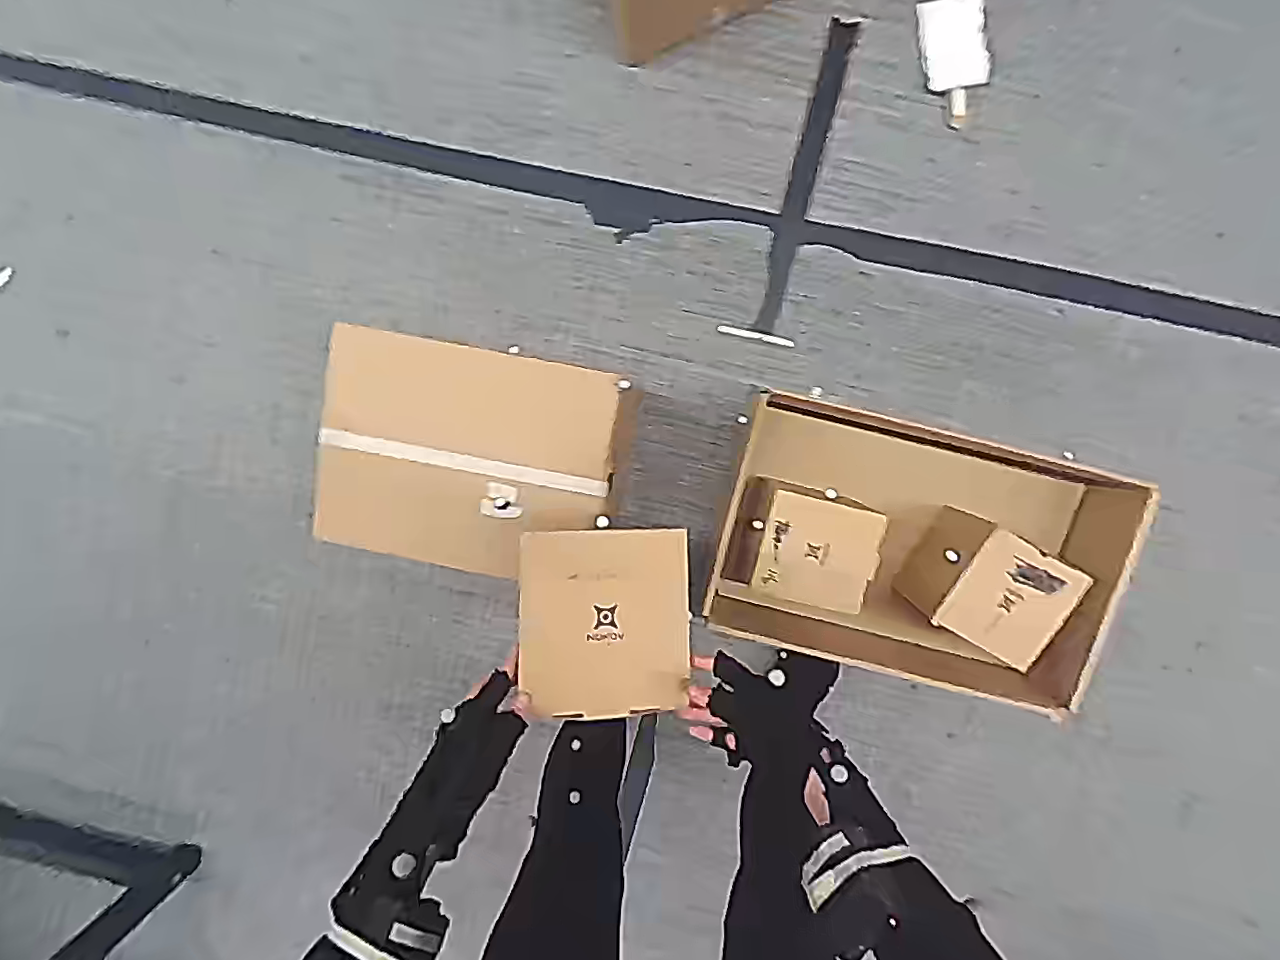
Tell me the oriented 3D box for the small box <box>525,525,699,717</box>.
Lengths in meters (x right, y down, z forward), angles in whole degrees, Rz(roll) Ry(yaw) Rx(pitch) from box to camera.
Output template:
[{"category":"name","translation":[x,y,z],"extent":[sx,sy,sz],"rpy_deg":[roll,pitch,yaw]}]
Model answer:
[{"category":"small box","translation":[-0.037,0.139,0.591],"extent":[0.168,0.176,0.179],"rpy_deg":[0,84,-11]}]

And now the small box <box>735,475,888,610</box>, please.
[{"category":"small box","translation":[0.272,0.093,0.898],"extent":[0.179,0.176,0.168],"rpy_deg":[14,97,0]}]

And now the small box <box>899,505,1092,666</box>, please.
[{"category":"small box","translation":[0.564,0.160,0.890],"extent":[0.168,0.176,0.179],"rpy_deg":[30,99,0]}]

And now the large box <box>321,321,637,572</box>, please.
[{"category":"large box","translation":[-0.233,-0.057,0.895],"extent":[0.408,0.320,0.320],"rpy_deg":[10,99,2]}]
